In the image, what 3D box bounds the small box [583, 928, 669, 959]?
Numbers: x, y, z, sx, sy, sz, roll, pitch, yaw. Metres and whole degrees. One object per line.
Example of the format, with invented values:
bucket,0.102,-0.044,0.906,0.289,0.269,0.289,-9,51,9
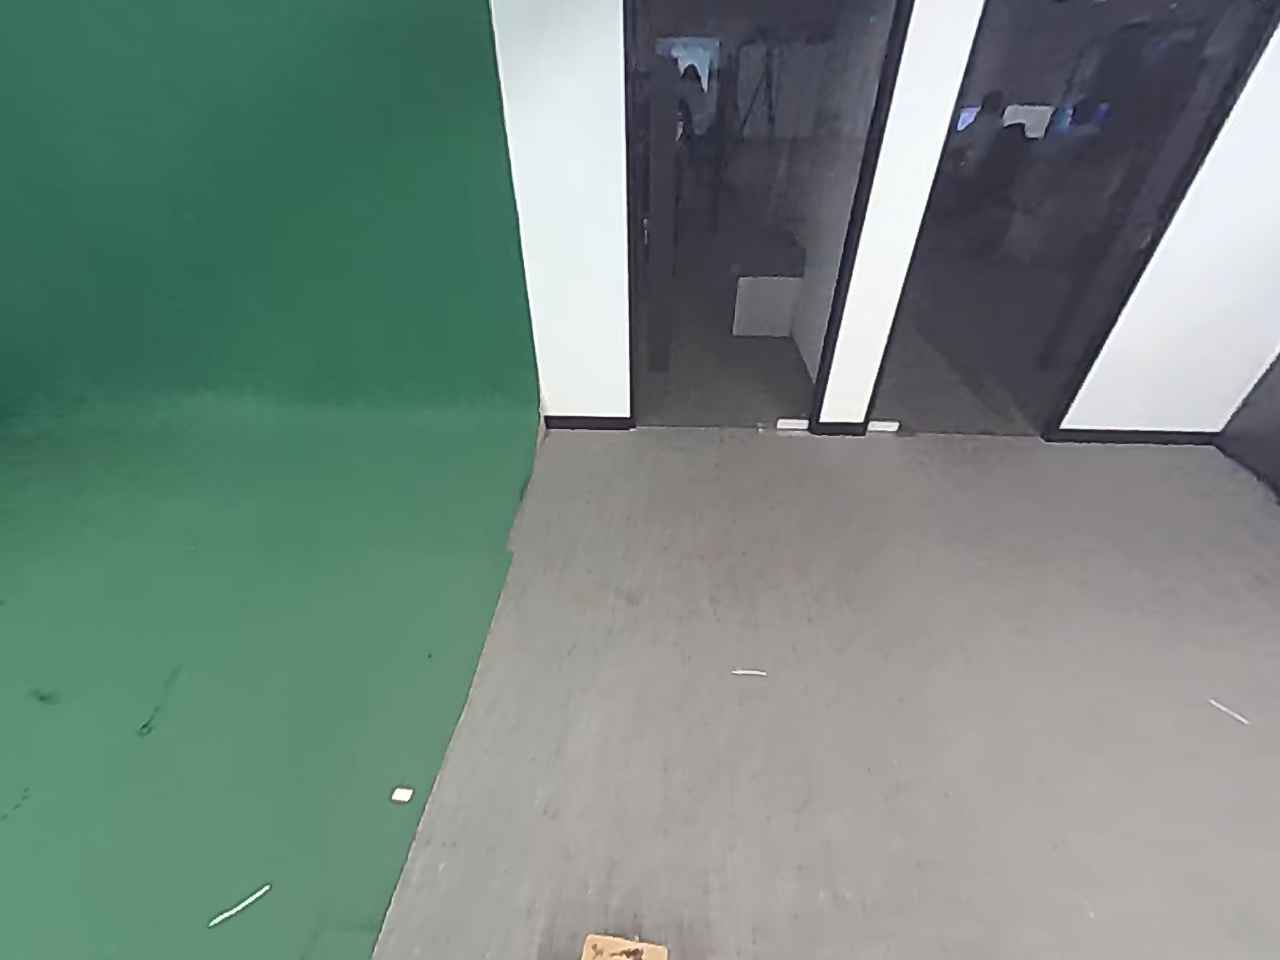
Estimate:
small box,-0.033,1.008,1.044,0.168,0.176,0.179,4,38,7
